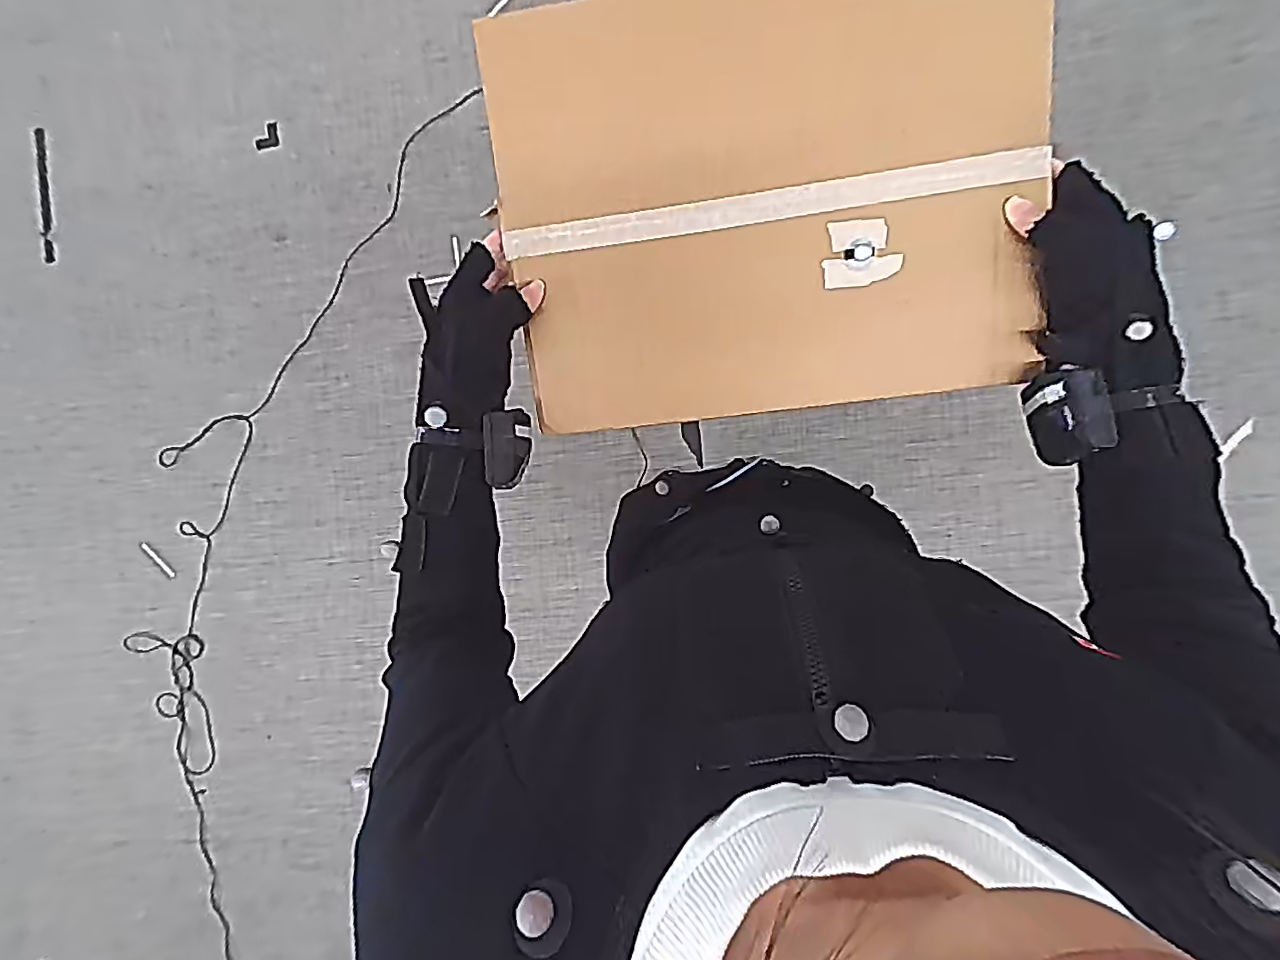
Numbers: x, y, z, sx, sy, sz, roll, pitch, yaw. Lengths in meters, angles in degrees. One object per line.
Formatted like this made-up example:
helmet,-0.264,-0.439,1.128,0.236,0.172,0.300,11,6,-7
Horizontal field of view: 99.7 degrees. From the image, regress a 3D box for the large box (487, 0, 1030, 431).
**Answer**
large box,0.105,-0.245,0.573,0.408,0.320,0.320,-6,103,6
